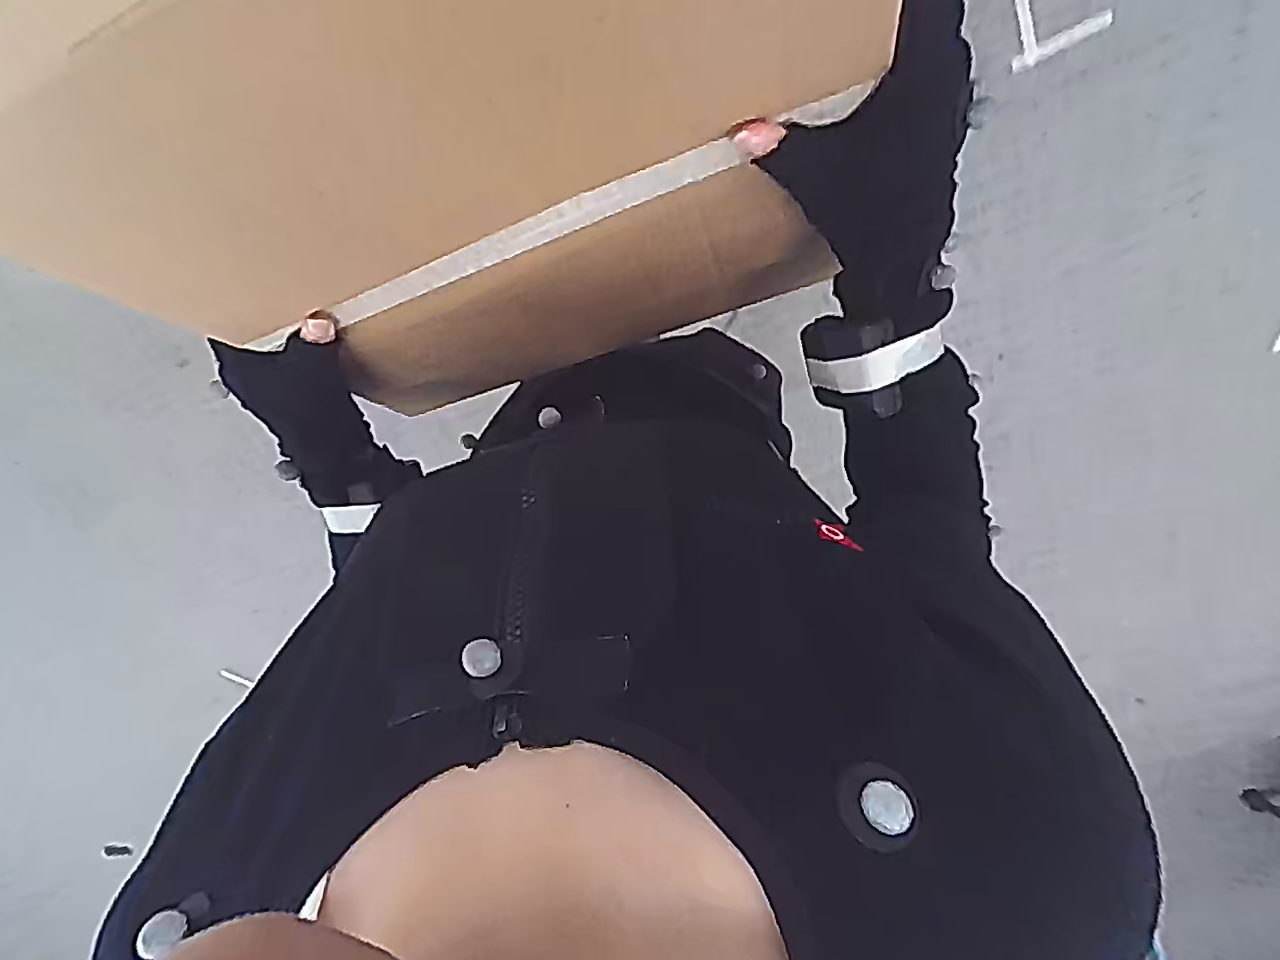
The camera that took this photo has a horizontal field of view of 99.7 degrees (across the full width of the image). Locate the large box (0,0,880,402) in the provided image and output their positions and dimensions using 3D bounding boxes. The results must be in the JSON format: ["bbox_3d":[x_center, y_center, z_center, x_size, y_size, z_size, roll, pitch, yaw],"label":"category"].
[{"bbox_3d":[-0.101,-0.291,0.346,0.408,0.320,0.320,-15,76,15],"label":"large box"}]
